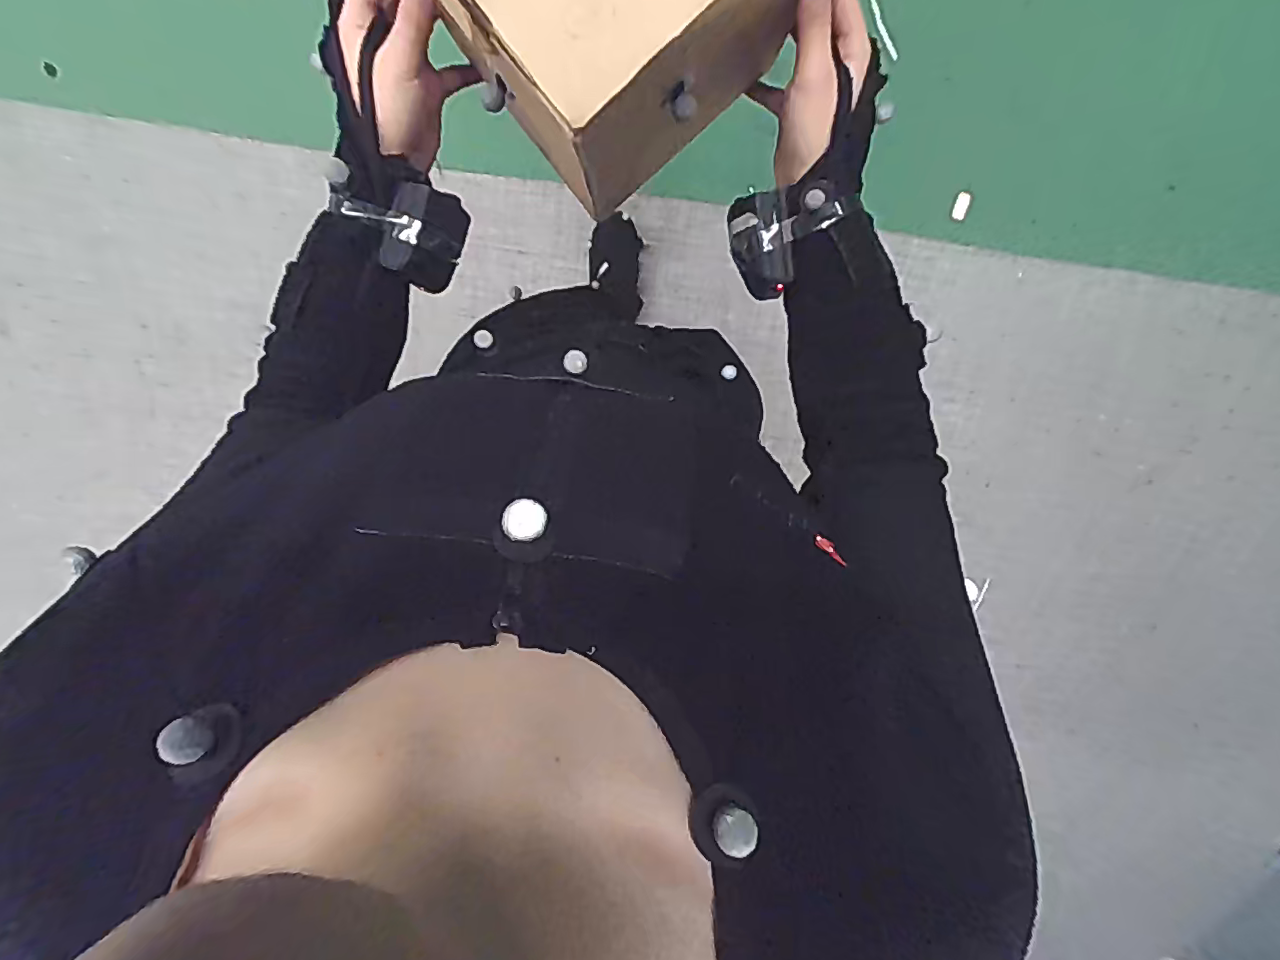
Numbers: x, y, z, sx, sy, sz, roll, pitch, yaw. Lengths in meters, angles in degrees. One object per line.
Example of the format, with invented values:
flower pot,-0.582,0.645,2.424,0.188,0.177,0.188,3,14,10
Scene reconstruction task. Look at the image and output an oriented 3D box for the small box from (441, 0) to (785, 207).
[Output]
small box,-0.020,-0.304,0.326,0.179,0.176,0.168,-39,98,8
